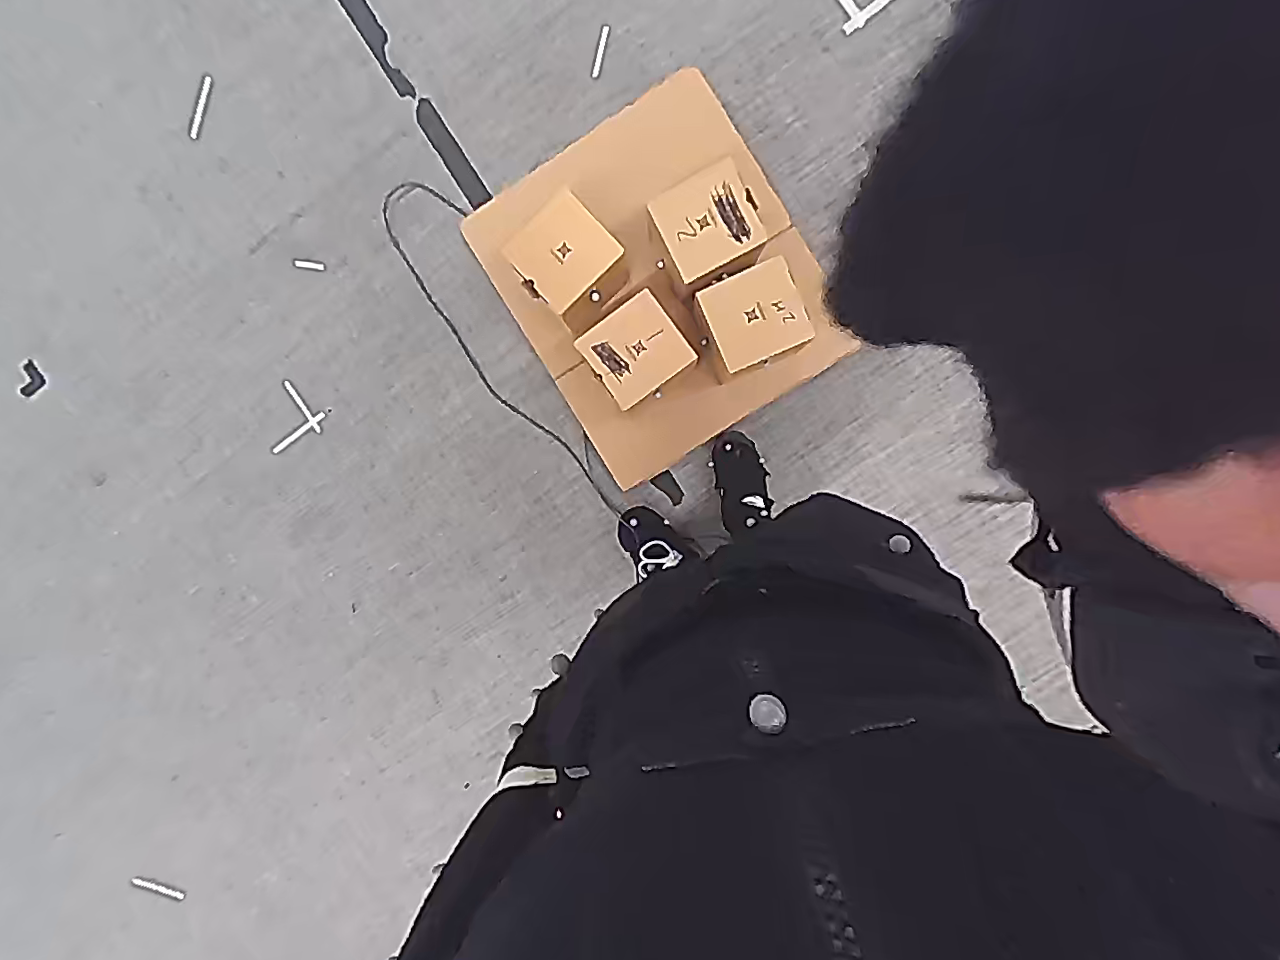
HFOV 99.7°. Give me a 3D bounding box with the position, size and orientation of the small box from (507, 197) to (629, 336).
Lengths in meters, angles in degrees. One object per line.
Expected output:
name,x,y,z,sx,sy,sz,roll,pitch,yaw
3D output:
small box,-0.135,-0.422,1.101,0.179,0.176,0.168,-44,89,5
